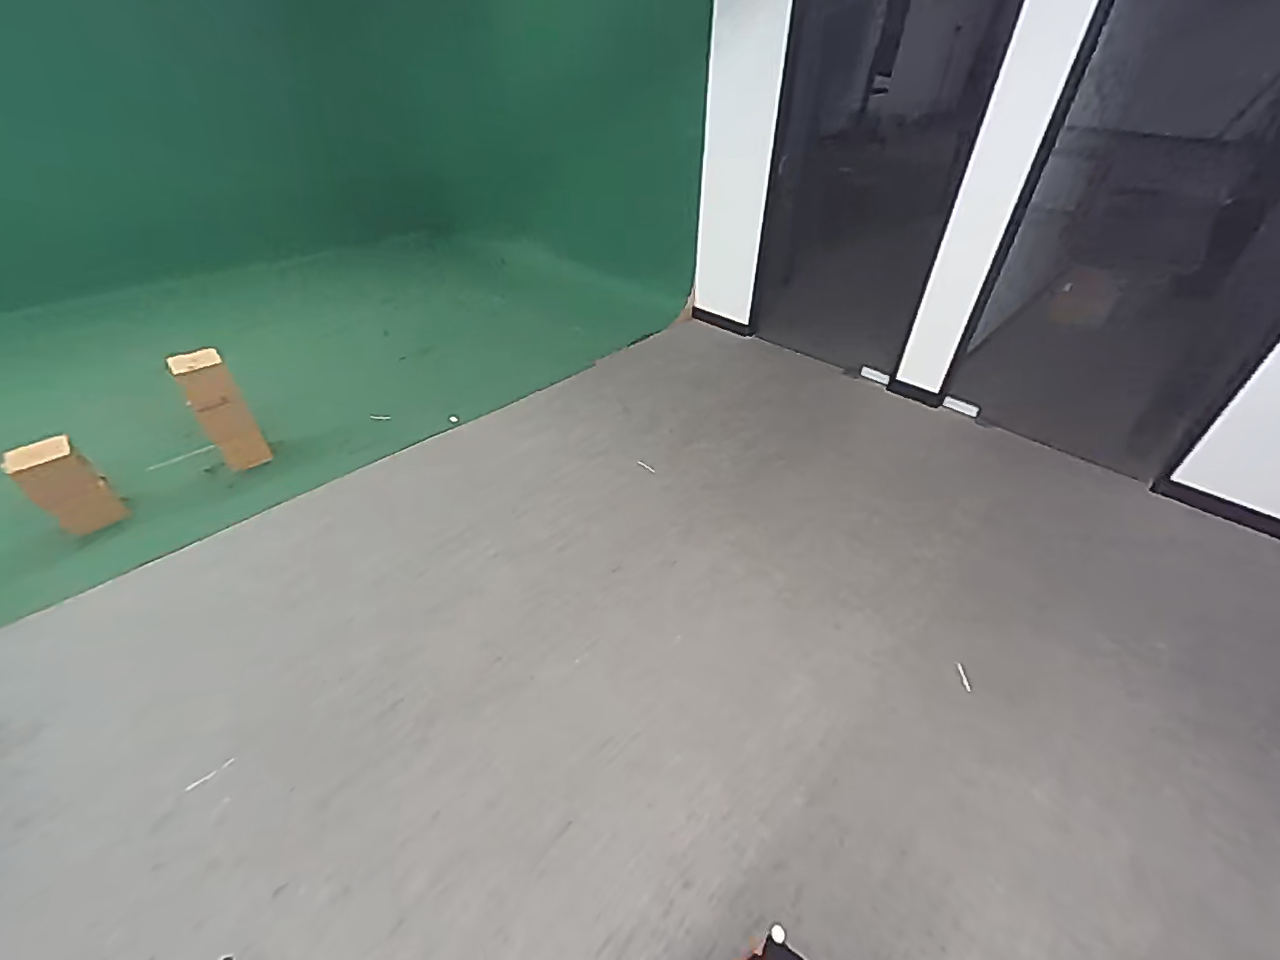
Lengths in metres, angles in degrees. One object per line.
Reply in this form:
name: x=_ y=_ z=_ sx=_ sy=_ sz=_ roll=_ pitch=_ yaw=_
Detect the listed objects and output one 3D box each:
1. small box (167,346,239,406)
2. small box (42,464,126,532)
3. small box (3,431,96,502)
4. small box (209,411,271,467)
small box: x=-1.773 y=-0.422 z=2.196 sx=0.168 sy=0.176 sz=0.179 roll=-28 pitch=47 yaw=-32
small box: x=-2.165 y=0.072 z=2.102 sx=0.168 sy=0.176 sz=0.179 roll=33 pitch=49 yaw=31
small box: x=-2.170 y=-0.047 z=1.990 sx=0.179 sy=0.176 sz=0.168 roll=-30 pitch=50 yaw=-33
small box: x=-1.782 y=-0.177 z=2.416 sx=0.168 sy=0.176 sz=0.179 roll=-25 pitch=46 yaw=-29
